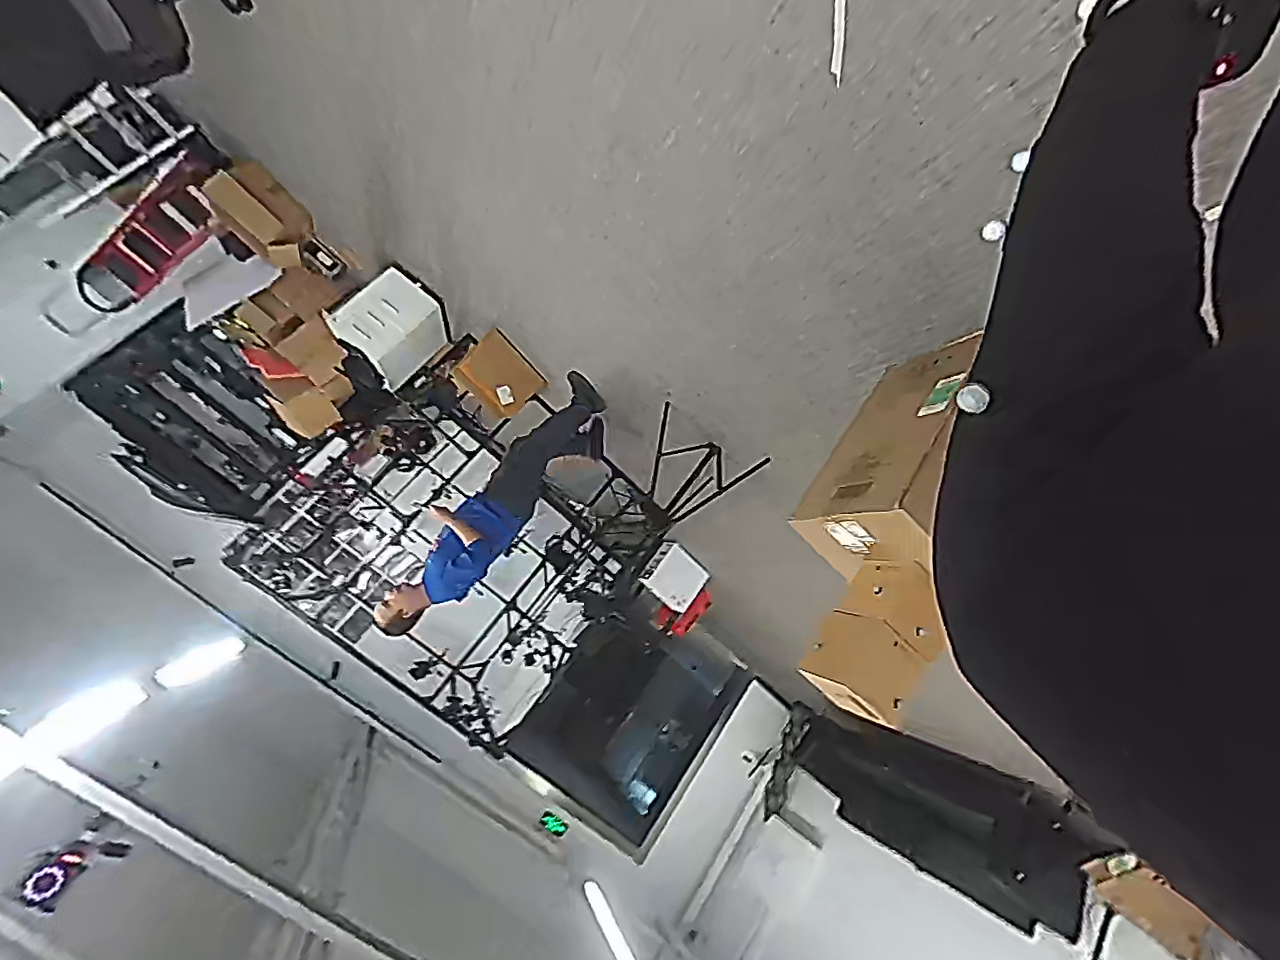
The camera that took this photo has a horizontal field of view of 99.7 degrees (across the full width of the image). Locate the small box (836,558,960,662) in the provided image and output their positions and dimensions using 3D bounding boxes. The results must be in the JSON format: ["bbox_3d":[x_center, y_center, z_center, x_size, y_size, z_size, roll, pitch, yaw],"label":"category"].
[{"bbox_3d":[0.613,0.300,1.286,0.179,0.176,0.168,41,161,-11],"label":"small box"}]
